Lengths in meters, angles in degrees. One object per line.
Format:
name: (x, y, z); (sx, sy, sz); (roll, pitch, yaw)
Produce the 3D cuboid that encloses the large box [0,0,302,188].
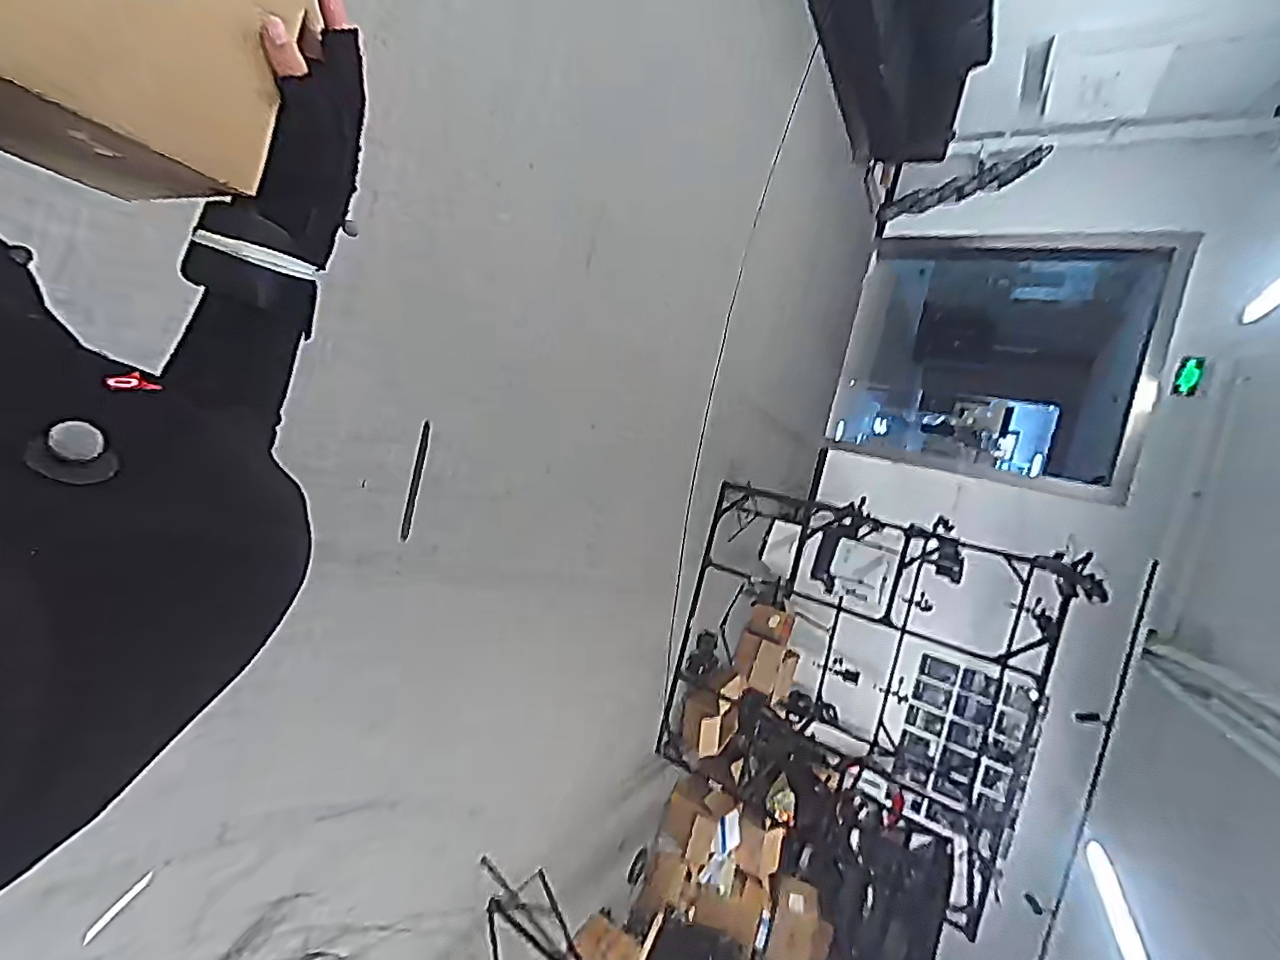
large box: (-0.456, -0.413, 0.288); (0.408, 0.320, 0.320); (11, 98, -57)
